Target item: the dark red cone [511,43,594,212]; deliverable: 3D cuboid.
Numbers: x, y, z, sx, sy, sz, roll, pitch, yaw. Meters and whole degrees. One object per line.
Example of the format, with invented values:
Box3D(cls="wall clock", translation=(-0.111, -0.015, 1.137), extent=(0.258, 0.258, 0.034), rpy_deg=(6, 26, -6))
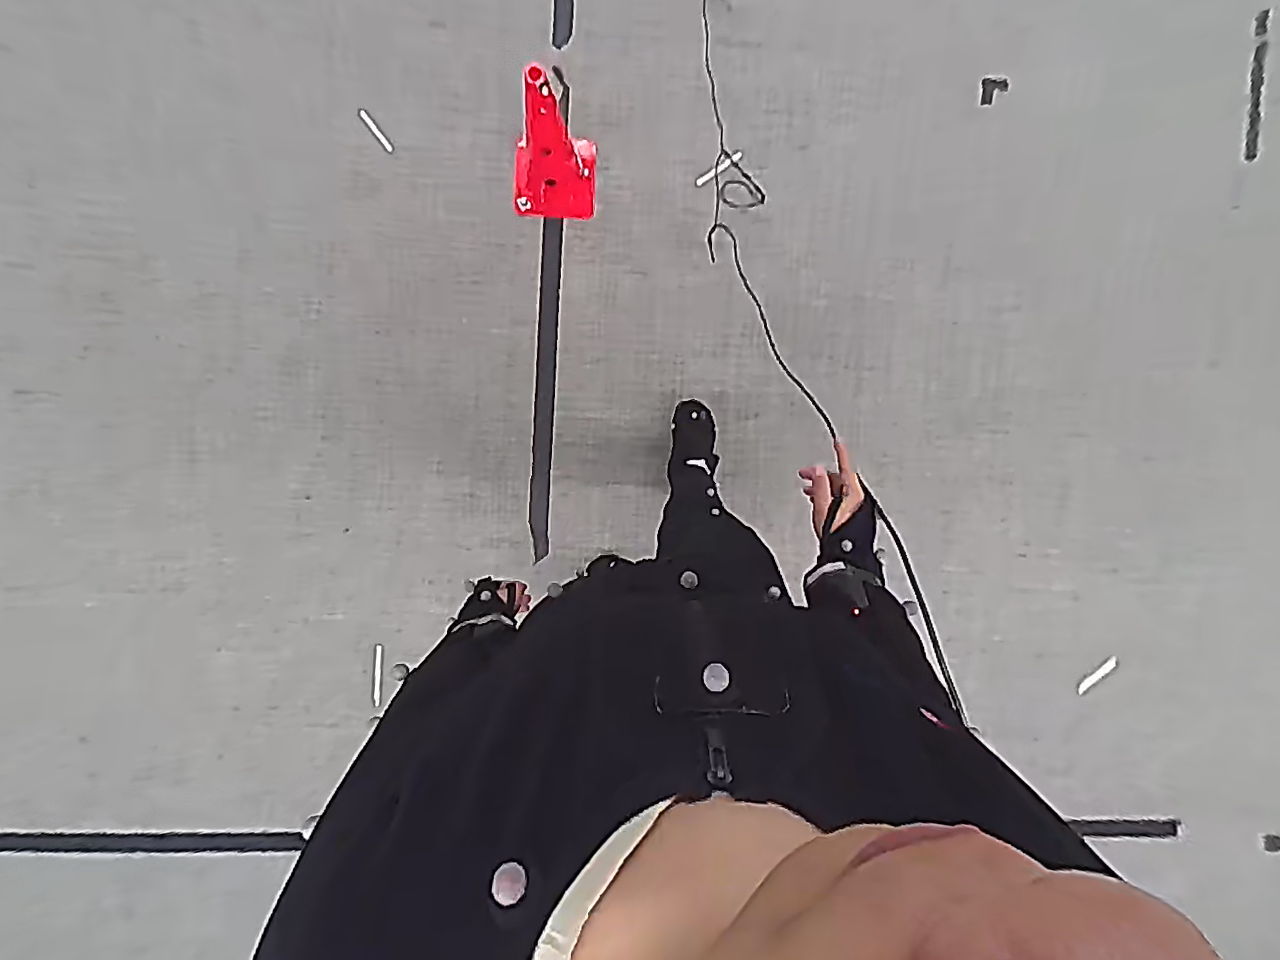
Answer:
Box3D(cls="dark red cone", translation=(-0.202, -0.758, 1.159), extent=(0.201, 0.394, 0.202), rpy_deg=(2, 90, -4))
